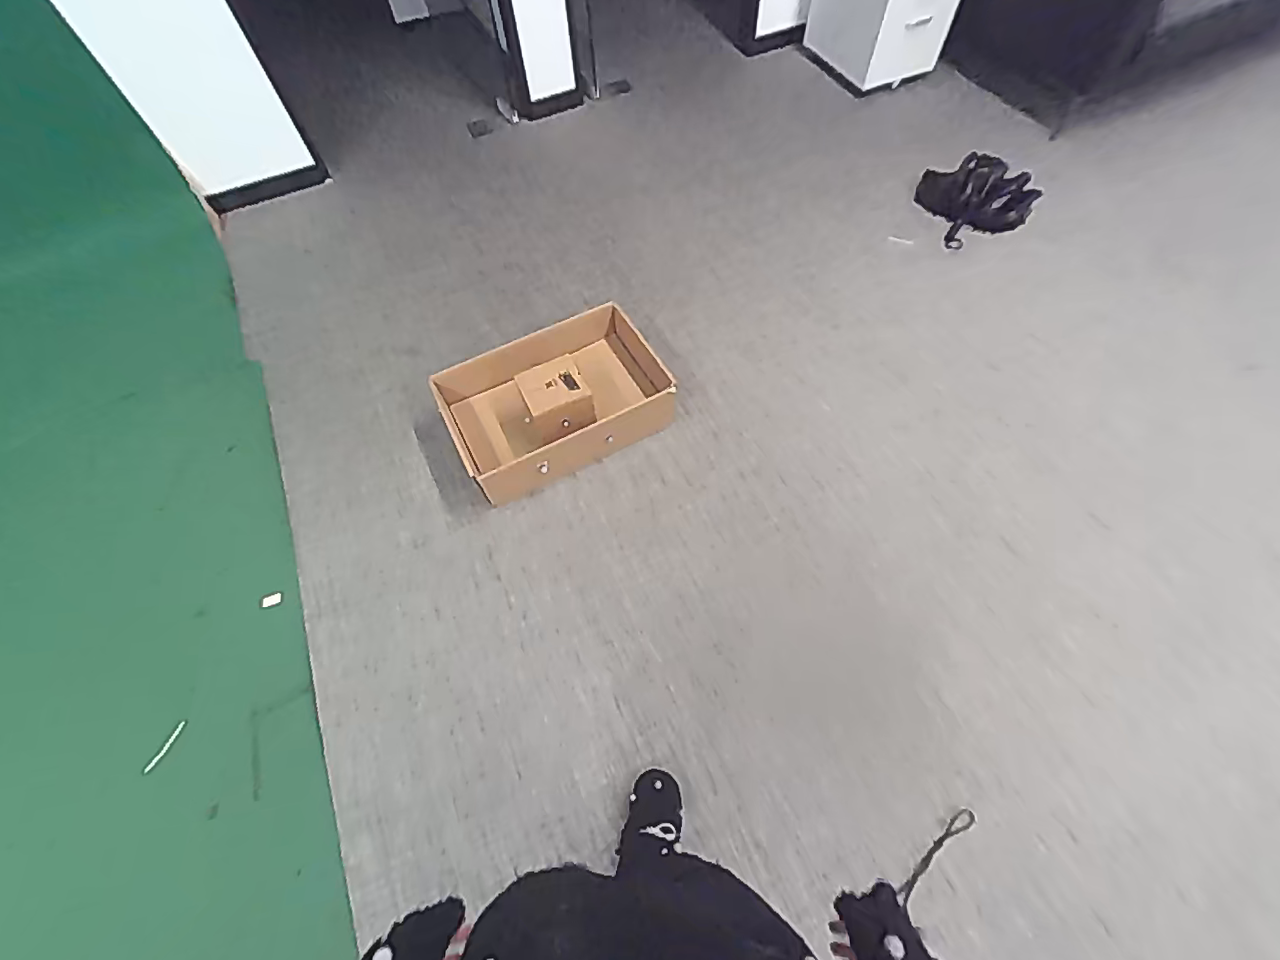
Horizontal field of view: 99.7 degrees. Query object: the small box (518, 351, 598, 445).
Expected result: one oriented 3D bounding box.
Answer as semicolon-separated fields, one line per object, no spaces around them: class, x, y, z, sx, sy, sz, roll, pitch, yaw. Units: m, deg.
small box;-0.230;-0.235;1.568;0.179;0.176;0.168;-26;63;-12
